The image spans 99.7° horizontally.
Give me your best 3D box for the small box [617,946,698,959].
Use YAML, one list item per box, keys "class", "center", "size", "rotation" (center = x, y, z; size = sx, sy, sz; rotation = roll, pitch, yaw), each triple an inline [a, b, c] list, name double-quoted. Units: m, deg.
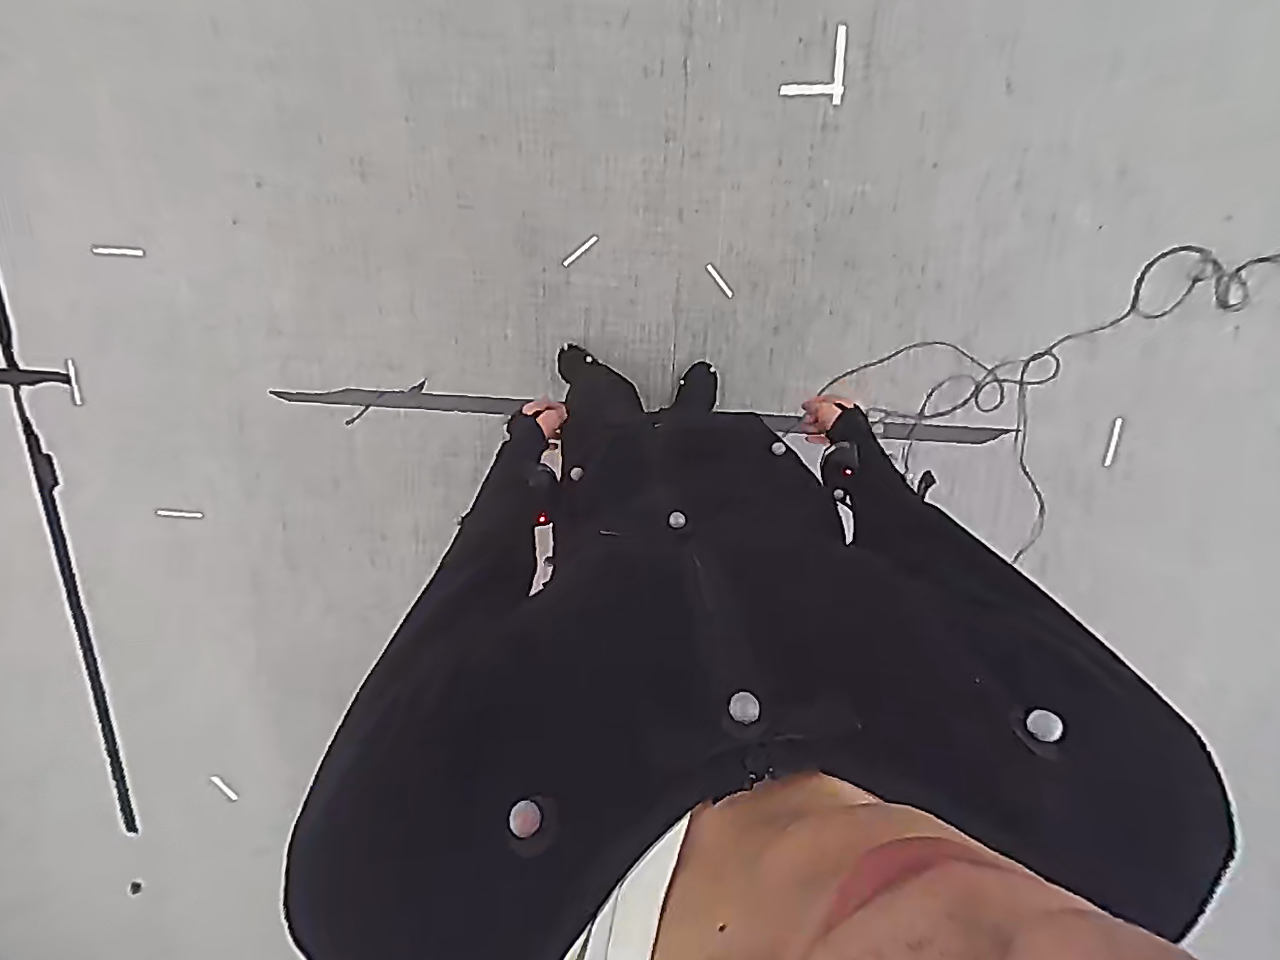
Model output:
- class: "small box"
  center: [0.028, 1.089, 1.090]
  size: [0.179, 0.176, 0.168]
  rotation: [1, 106, 4]
